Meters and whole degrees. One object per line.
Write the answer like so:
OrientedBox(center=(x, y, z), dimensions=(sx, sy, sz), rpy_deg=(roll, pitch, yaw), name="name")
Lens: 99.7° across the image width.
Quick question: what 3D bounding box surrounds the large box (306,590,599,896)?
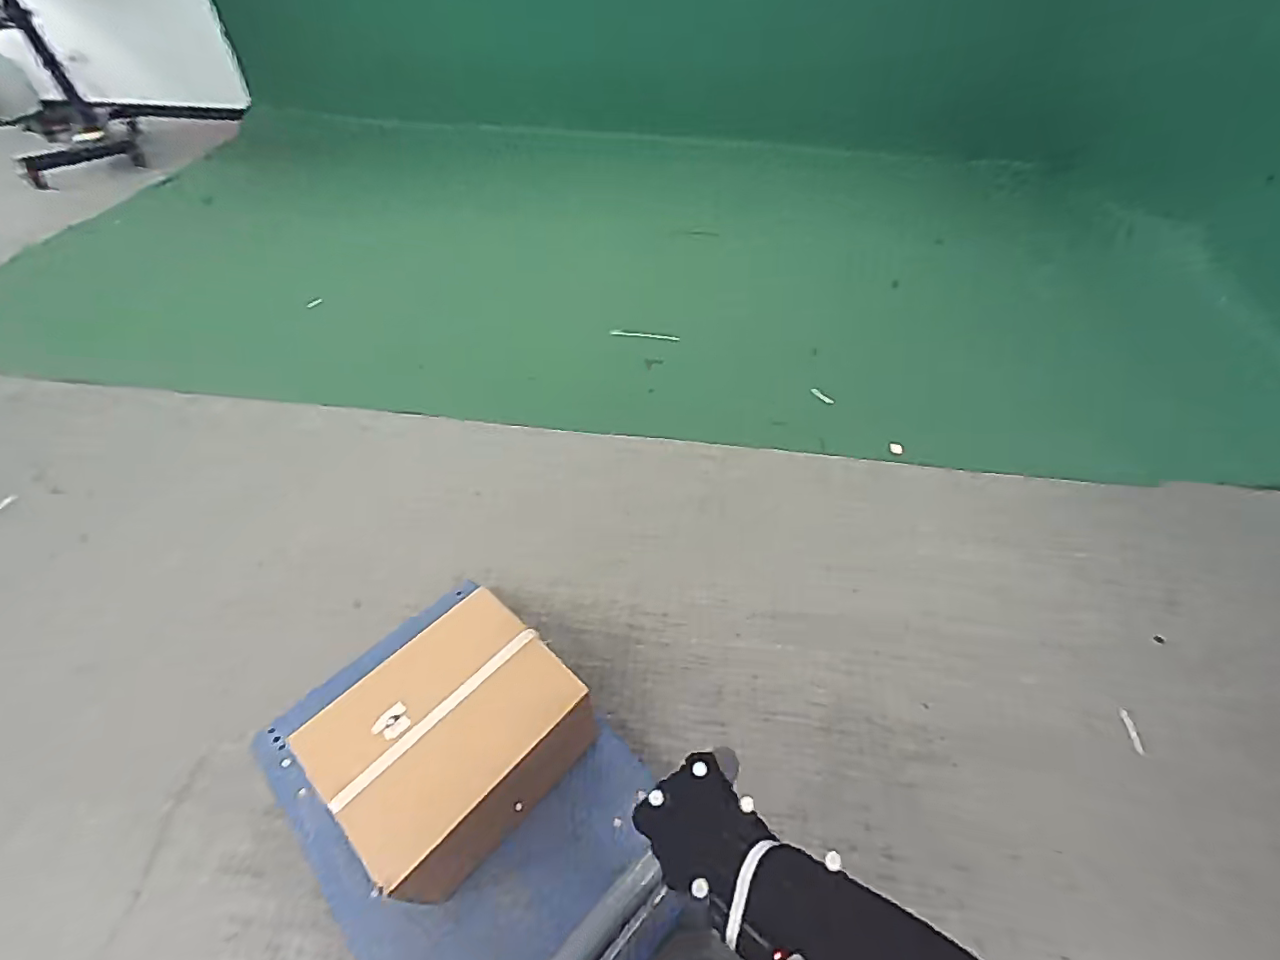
OrientedBox(center=(-0.329, 0.508, 1.066), dimensions=(0.320, 0.320, 0.408), rpy_deg=(35, 59, 26), name="large box")
